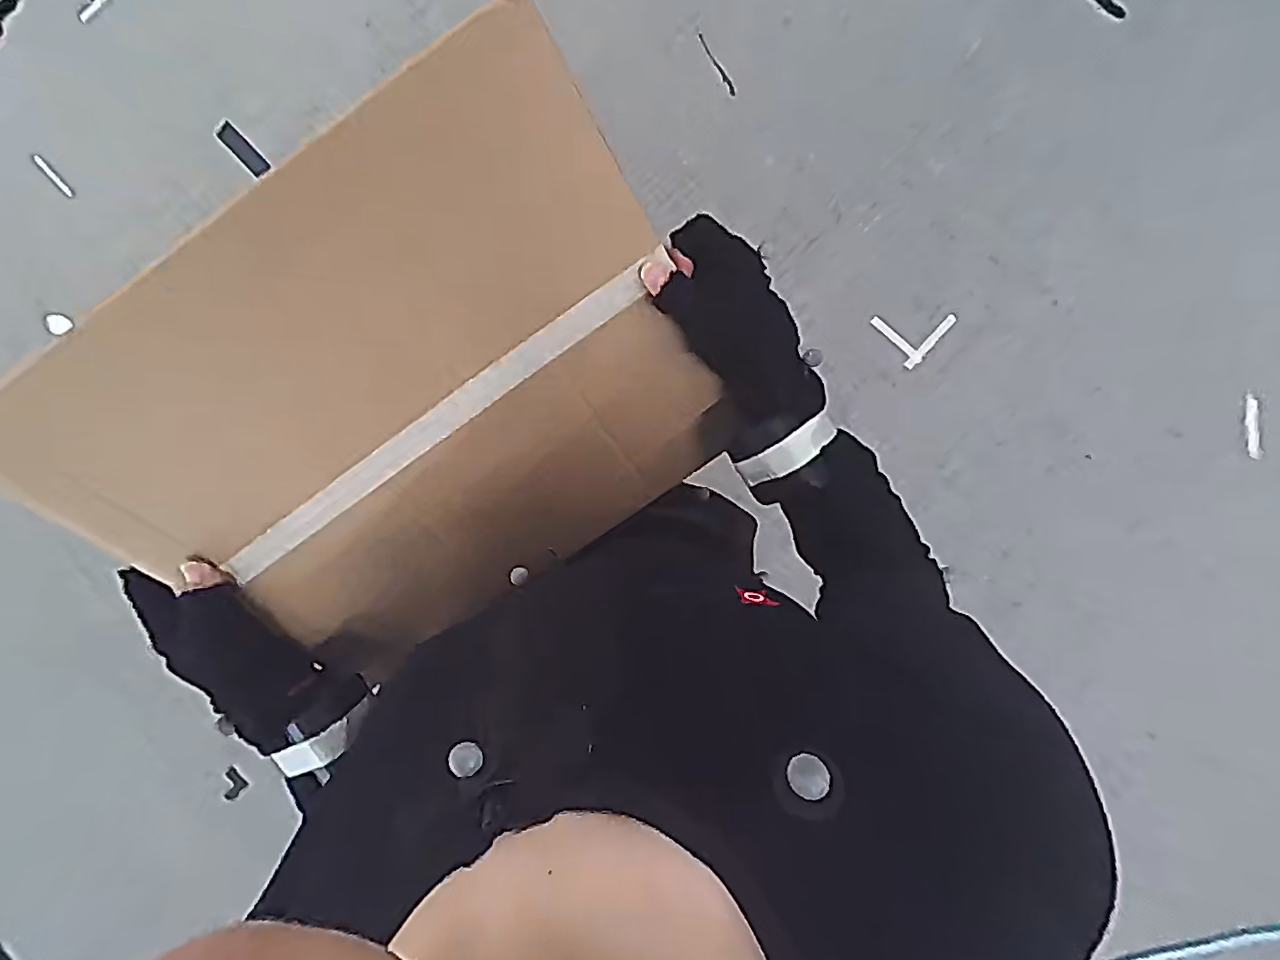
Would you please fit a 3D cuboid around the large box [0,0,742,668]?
[{"bbox_3d":[-0.190,-0.114,0.505,0.408,0.320,0.320,-34,125,5],"label":"large box"}]
